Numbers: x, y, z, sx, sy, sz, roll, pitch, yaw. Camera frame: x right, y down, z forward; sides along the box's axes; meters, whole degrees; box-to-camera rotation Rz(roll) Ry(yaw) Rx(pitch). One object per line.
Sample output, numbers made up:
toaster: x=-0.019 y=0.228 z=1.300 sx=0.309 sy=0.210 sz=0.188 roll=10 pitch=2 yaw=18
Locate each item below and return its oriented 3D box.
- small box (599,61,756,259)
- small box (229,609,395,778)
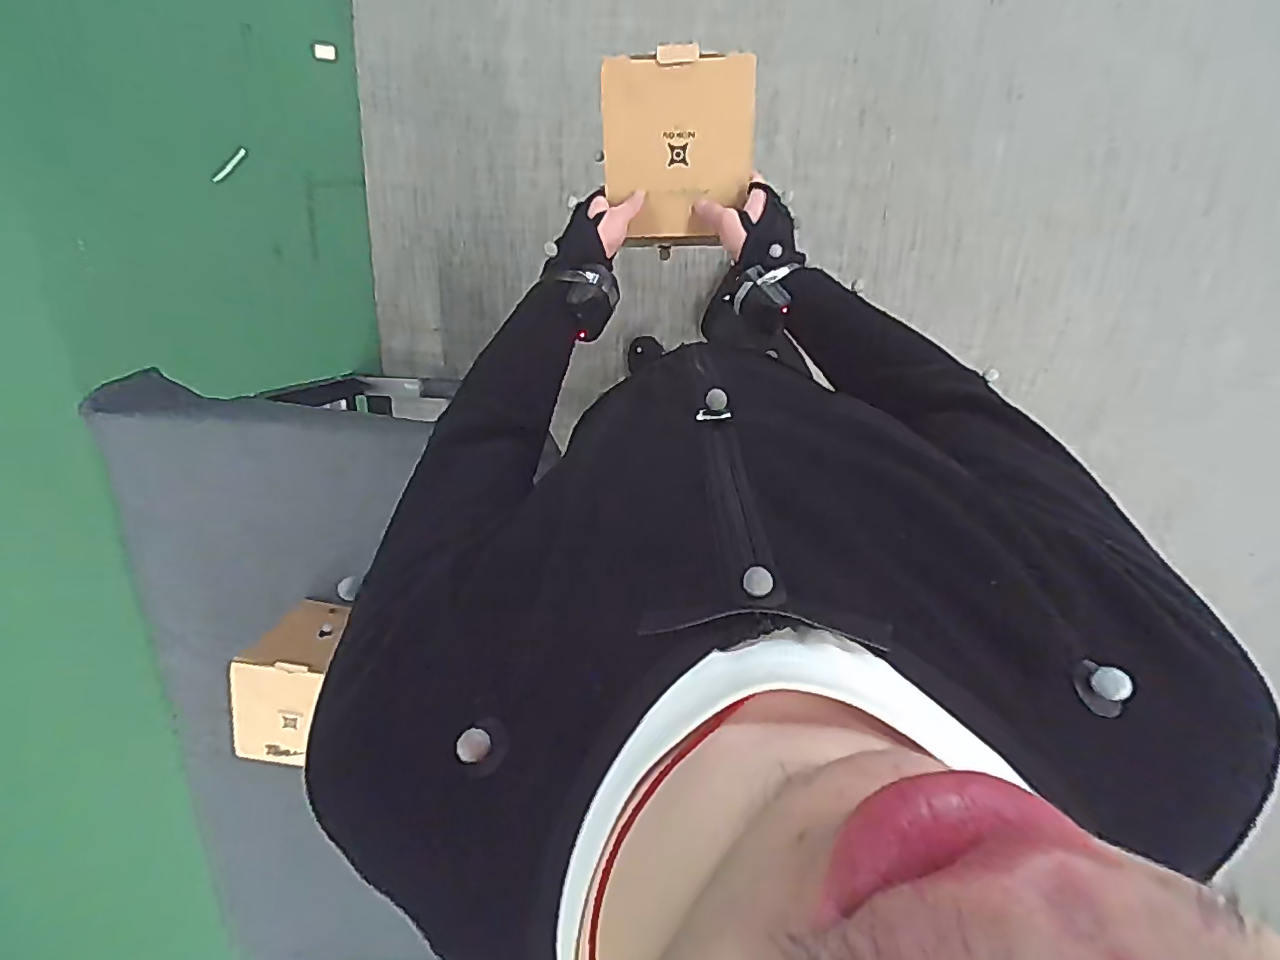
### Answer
small box: x=0.038 y=-0.372 z=0.659 sx=0.168 sy=0.176 sz=0.179 roll=2 pitch=109 yaw=1
small box: x=-0.506 y=0.327 z=0.855 sx=0.168 sy=0.176 sz=0.179 roll=11 pitch=106 yaw=-3
